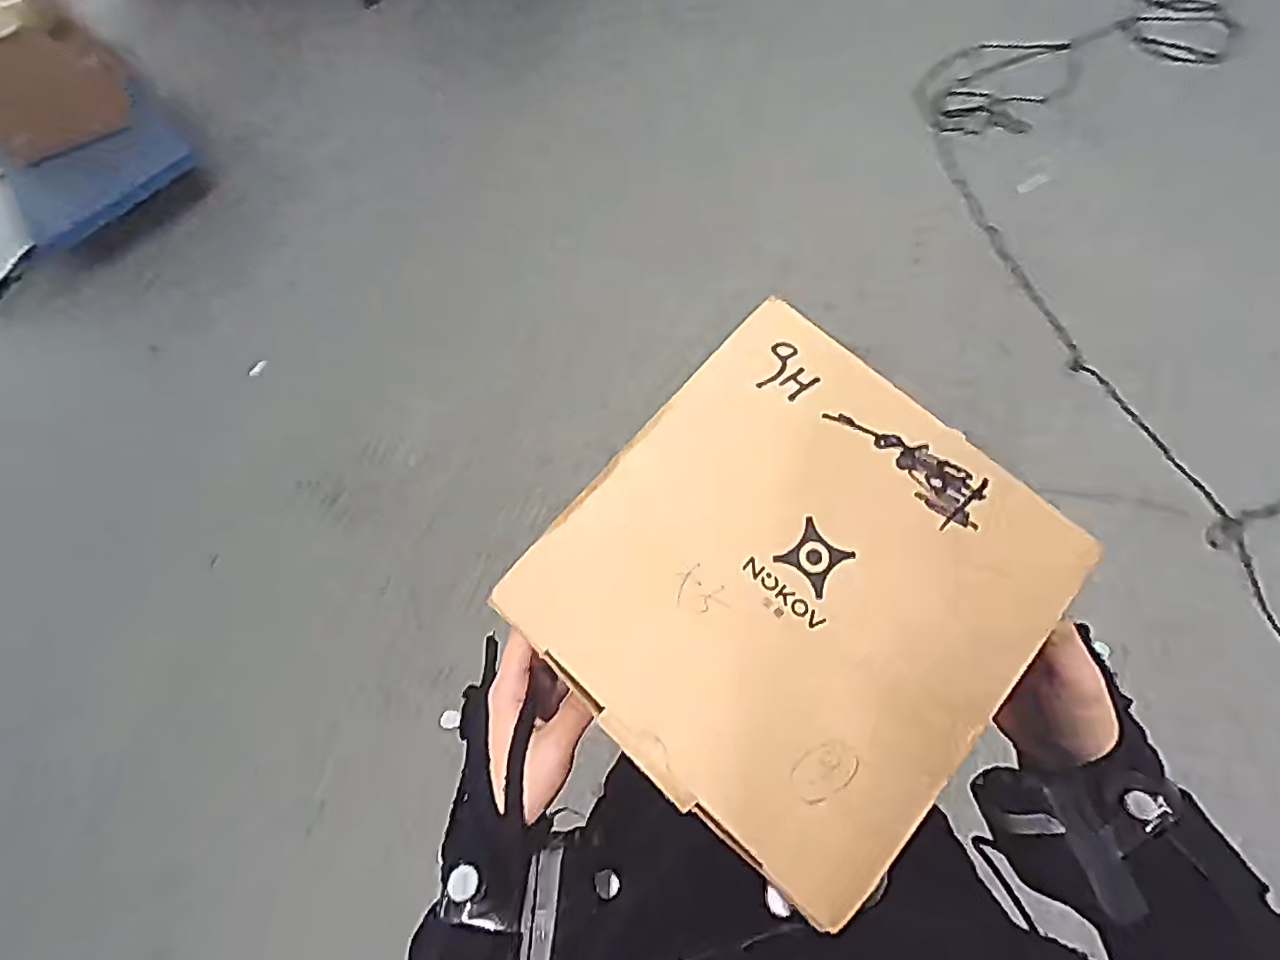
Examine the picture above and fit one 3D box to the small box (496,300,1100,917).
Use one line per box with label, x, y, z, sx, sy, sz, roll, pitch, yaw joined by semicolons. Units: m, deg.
small box;0.062;0.053;0.285;0.168;0.176;0.179;43;82;10
